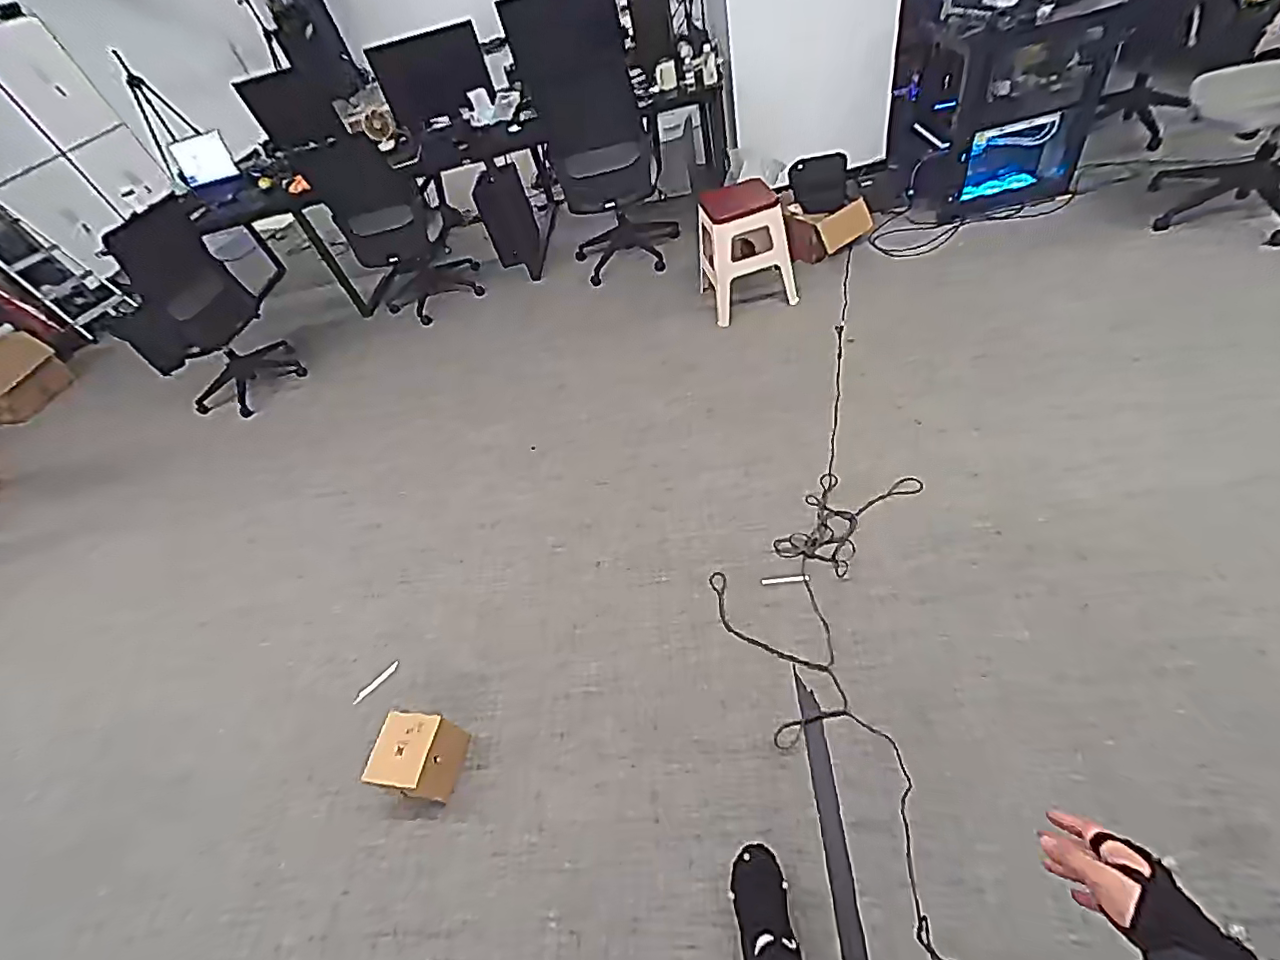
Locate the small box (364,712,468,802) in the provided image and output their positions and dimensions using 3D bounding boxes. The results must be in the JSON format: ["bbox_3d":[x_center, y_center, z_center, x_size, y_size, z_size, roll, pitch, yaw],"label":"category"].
[{"bbox_3d":[-0.588,0.746,1.450,0.168,0.176,0.179,-1,49,16],"label":"small box"}]
